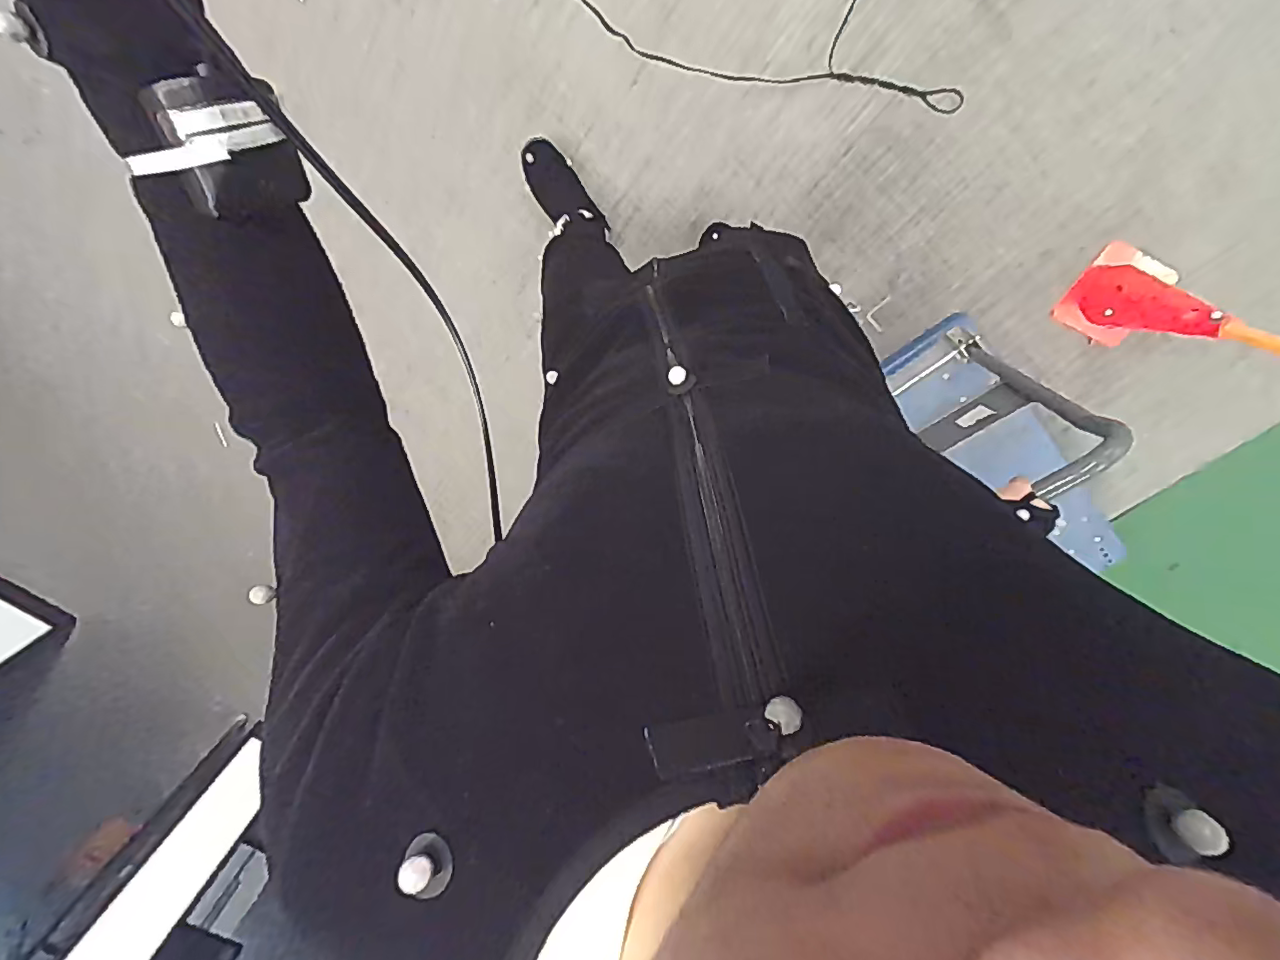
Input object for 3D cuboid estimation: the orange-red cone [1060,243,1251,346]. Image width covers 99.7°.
[{"bbox_3d":[1.149,-0.370,1.170,0.198,0.360,0.199,25,118,-7],"label":"orange-red cone"}]
